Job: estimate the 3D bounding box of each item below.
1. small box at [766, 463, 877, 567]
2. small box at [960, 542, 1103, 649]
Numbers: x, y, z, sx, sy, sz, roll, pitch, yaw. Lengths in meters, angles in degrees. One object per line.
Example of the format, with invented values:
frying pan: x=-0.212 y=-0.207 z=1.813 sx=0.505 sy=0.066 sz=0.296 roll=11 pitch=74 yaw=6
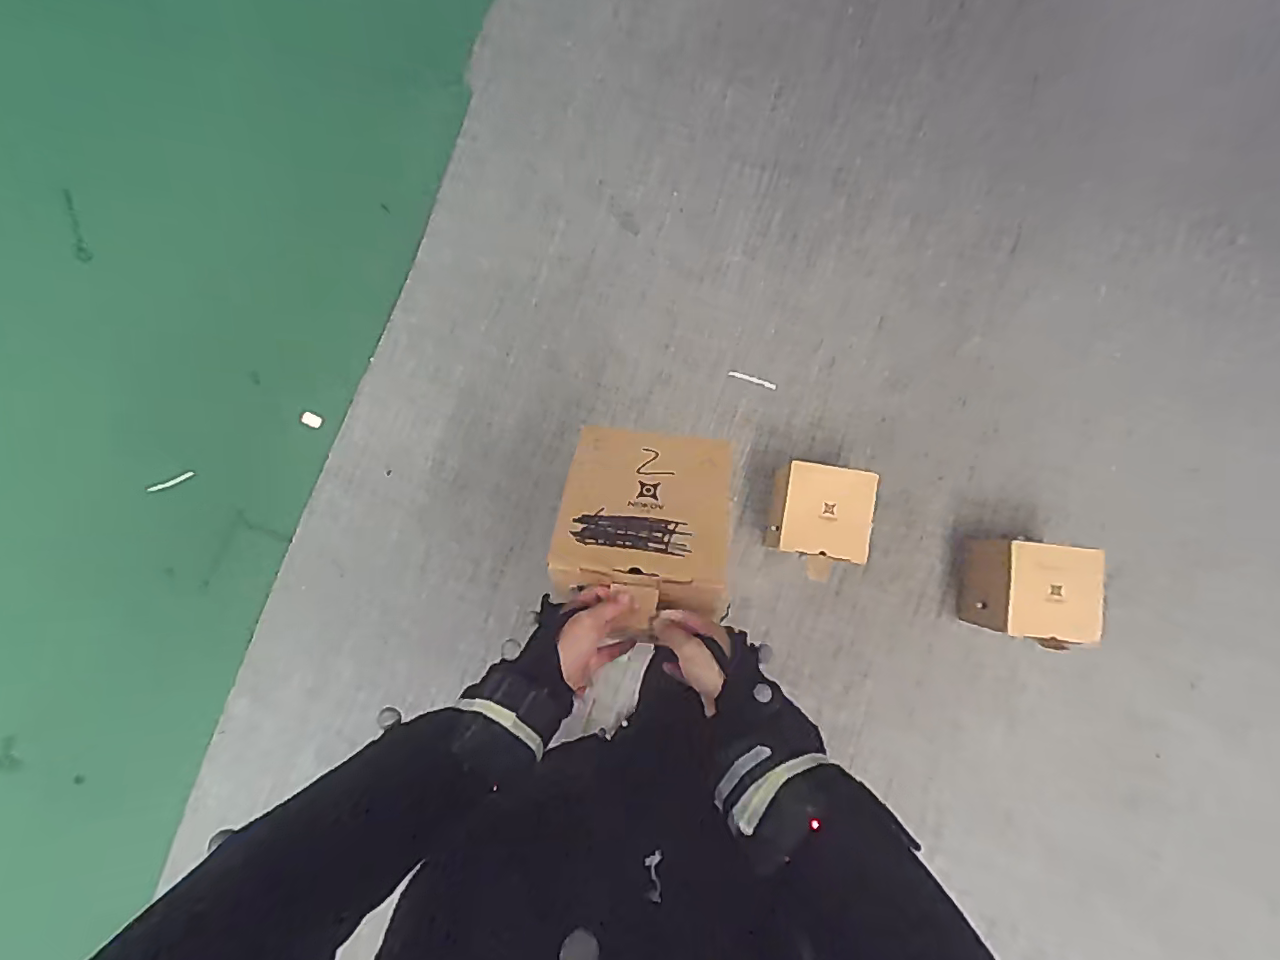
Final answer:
small box: x=0.360 y=0.072 z=1.098 sx=0.168 sy=0.176 sz=0.179 roll=9 pitch=85 yaw=5
small box: x=0.753 y=0.217 z=1.057 sx=0.168 sy=0.176 sz=0.179 roll=6 pitch=84 yaw=3
